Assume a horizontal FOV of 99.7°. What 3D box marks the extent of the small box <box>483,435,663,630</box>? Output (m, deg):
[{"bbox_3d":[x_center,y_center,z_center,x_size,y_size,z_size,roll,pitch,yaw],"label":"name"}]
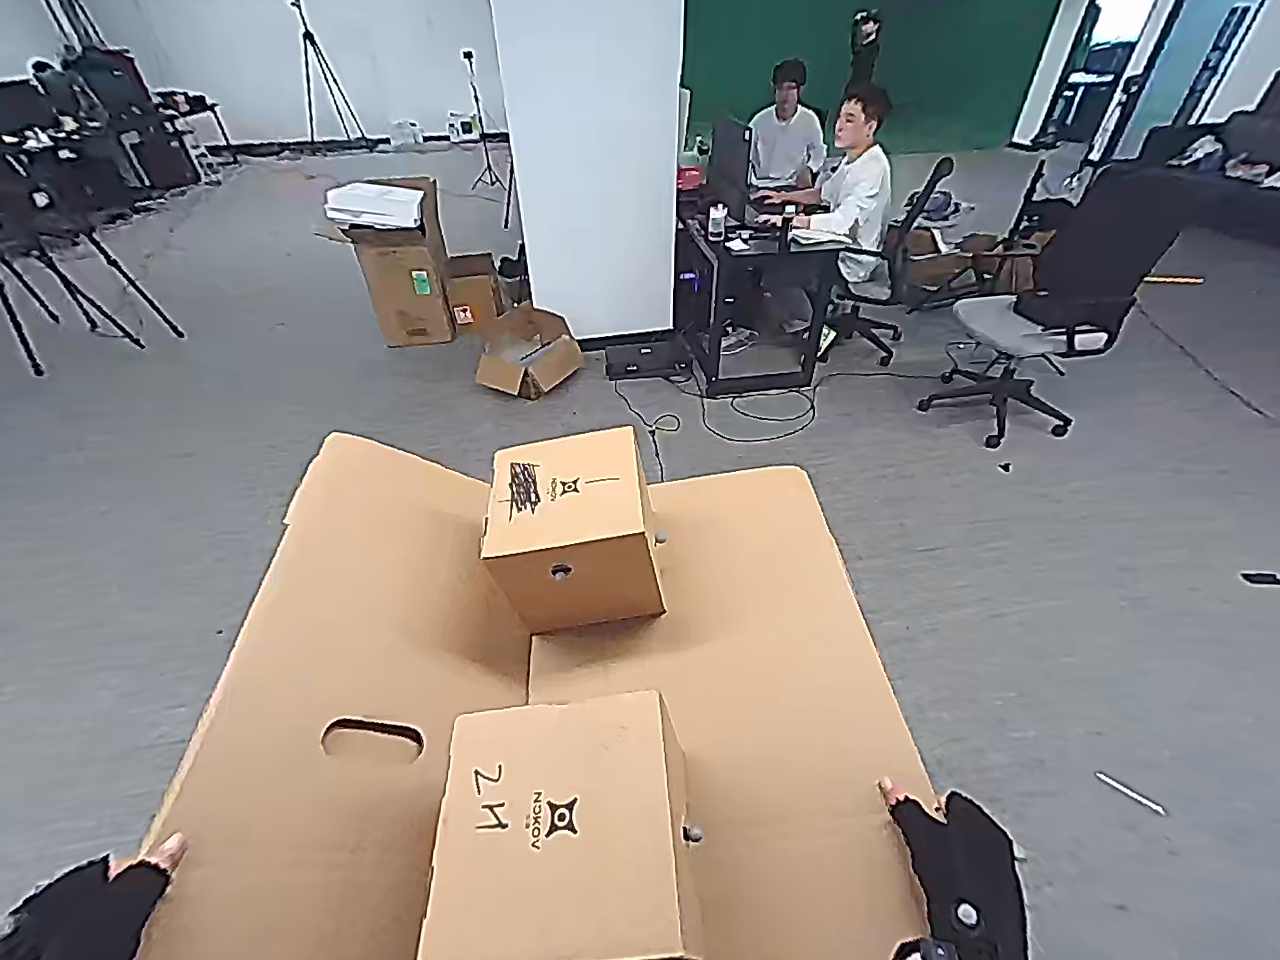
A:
[{"bbox_3d":[-0.074,0.071,0.678,0.179,0.176,0.168,-9,47,3],"label":"small box"}]
